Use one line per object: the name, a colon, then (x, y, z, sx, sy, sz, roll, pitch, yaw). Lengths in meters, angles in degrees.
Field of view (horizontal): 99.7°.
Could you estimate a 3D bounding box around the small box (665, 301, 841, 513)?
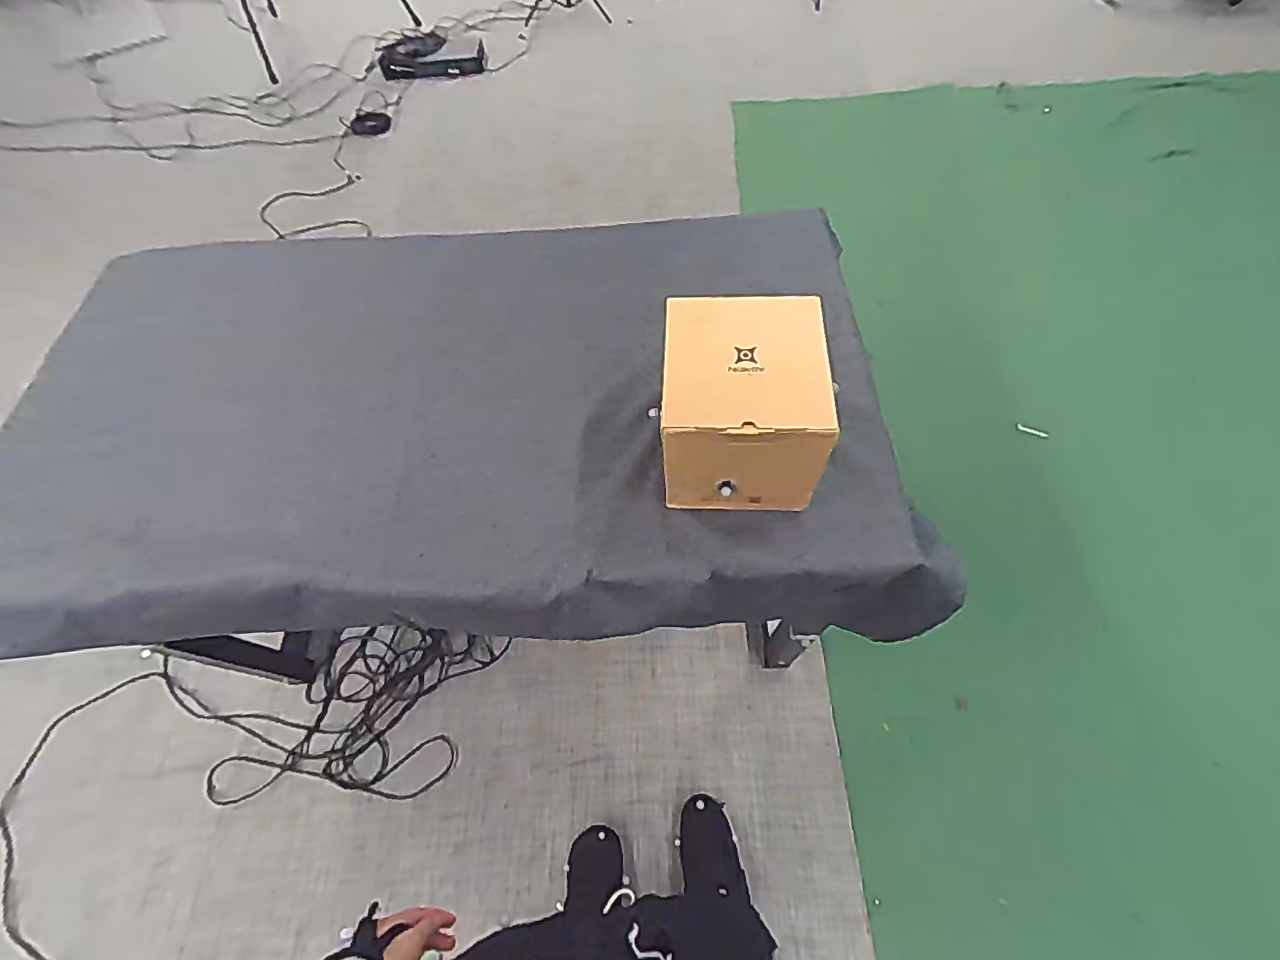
small box: (0.114, -0.079, 0.614, 0.168, 0.176, 0.179, 1, 61, 4)
